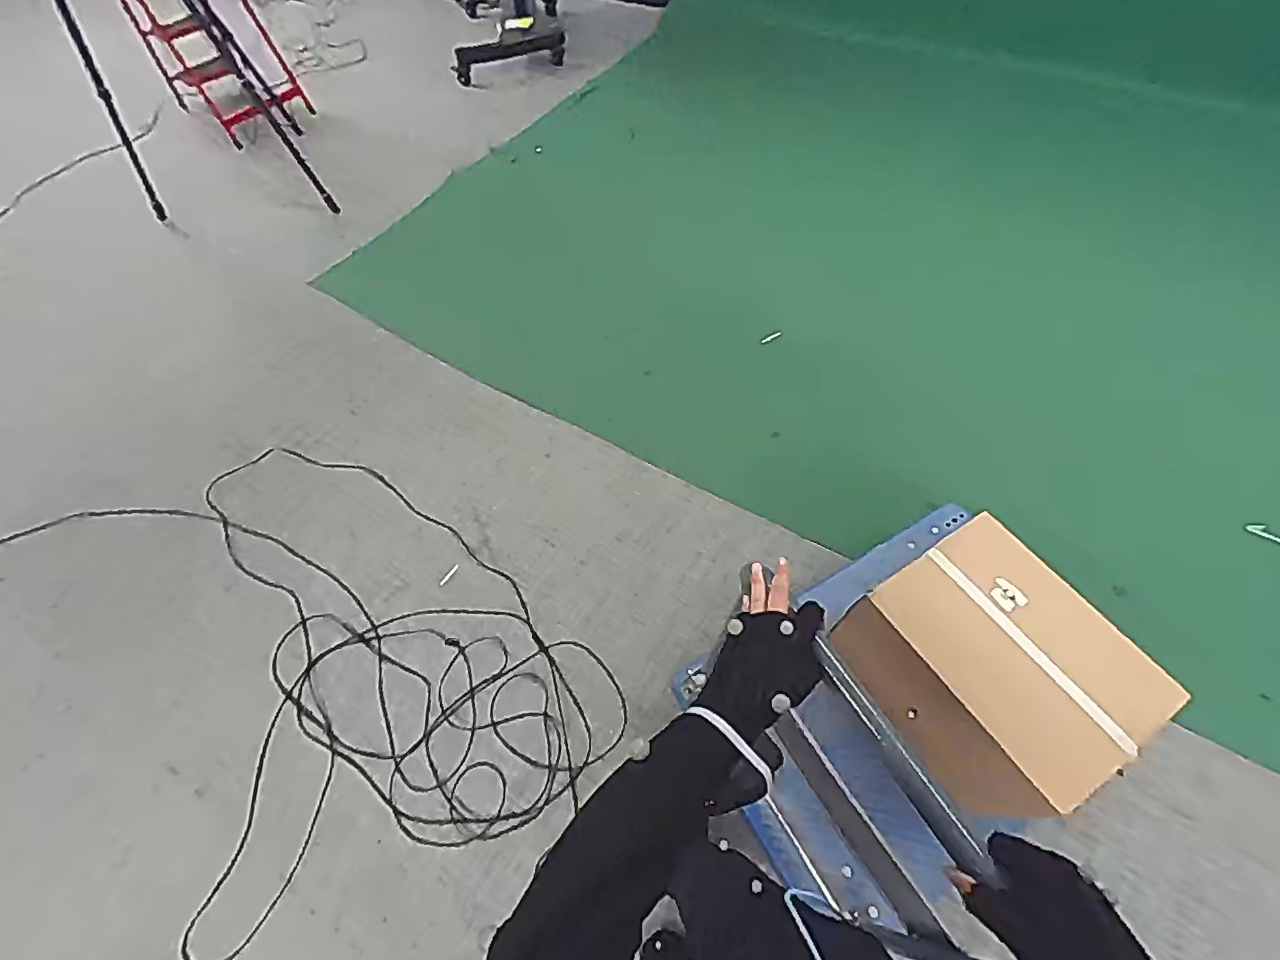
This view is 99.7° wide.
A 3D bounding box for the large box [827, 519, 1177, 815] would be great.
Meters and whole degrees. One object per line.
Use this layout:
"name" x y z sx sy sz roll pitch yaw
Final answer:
"large box" 0.645 0.363 1.052 0.320 0.320 0.408 -29 60 -15
